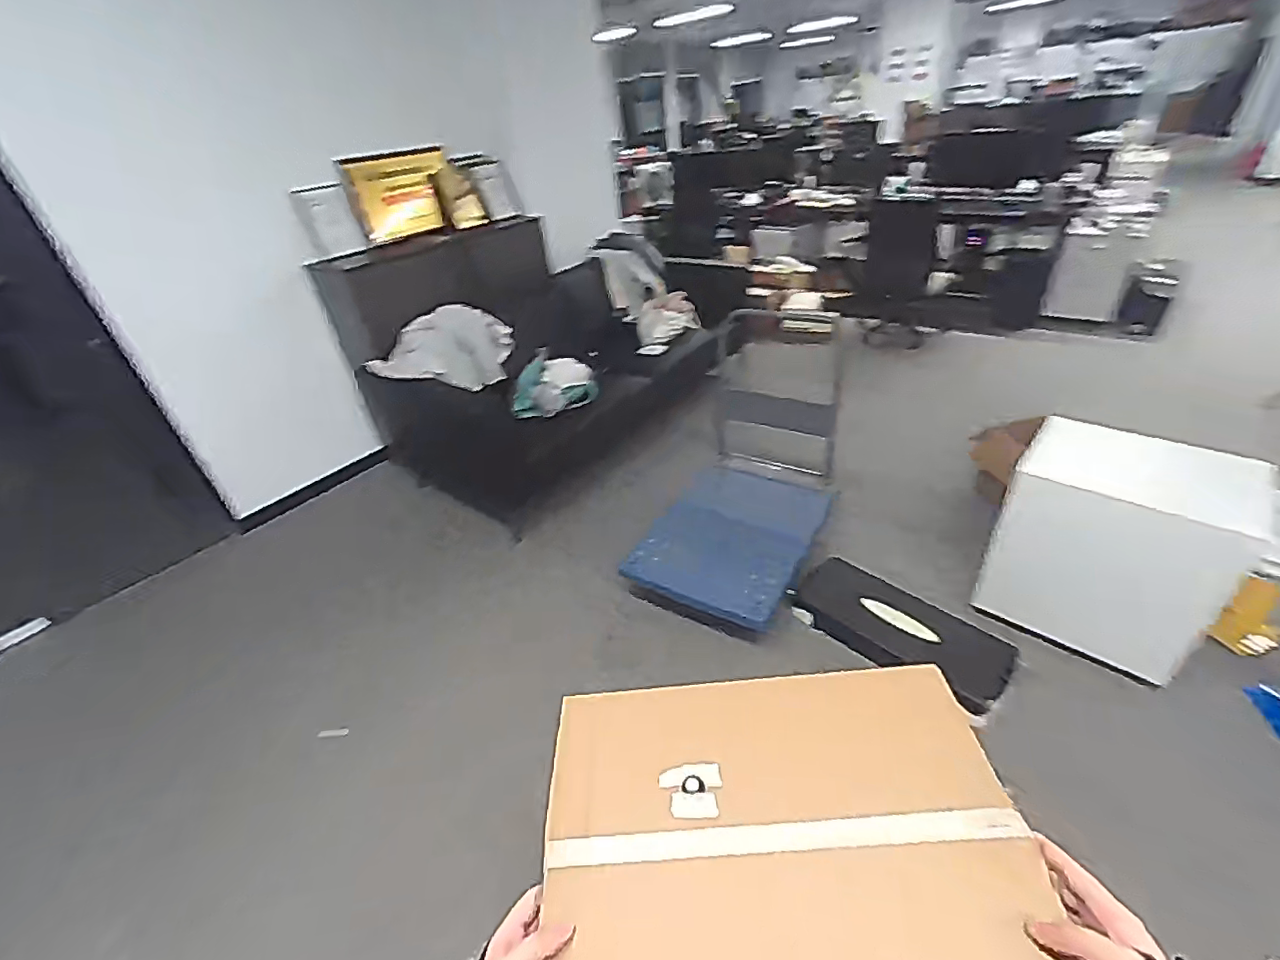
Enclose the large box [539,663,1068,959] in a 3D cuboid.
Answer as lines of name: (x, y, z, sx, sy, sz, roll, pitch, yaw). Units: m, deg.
large box: (0.136, 0.435, 0.566, 0.408, 0.320, 0.320, -9, 36, 5)
